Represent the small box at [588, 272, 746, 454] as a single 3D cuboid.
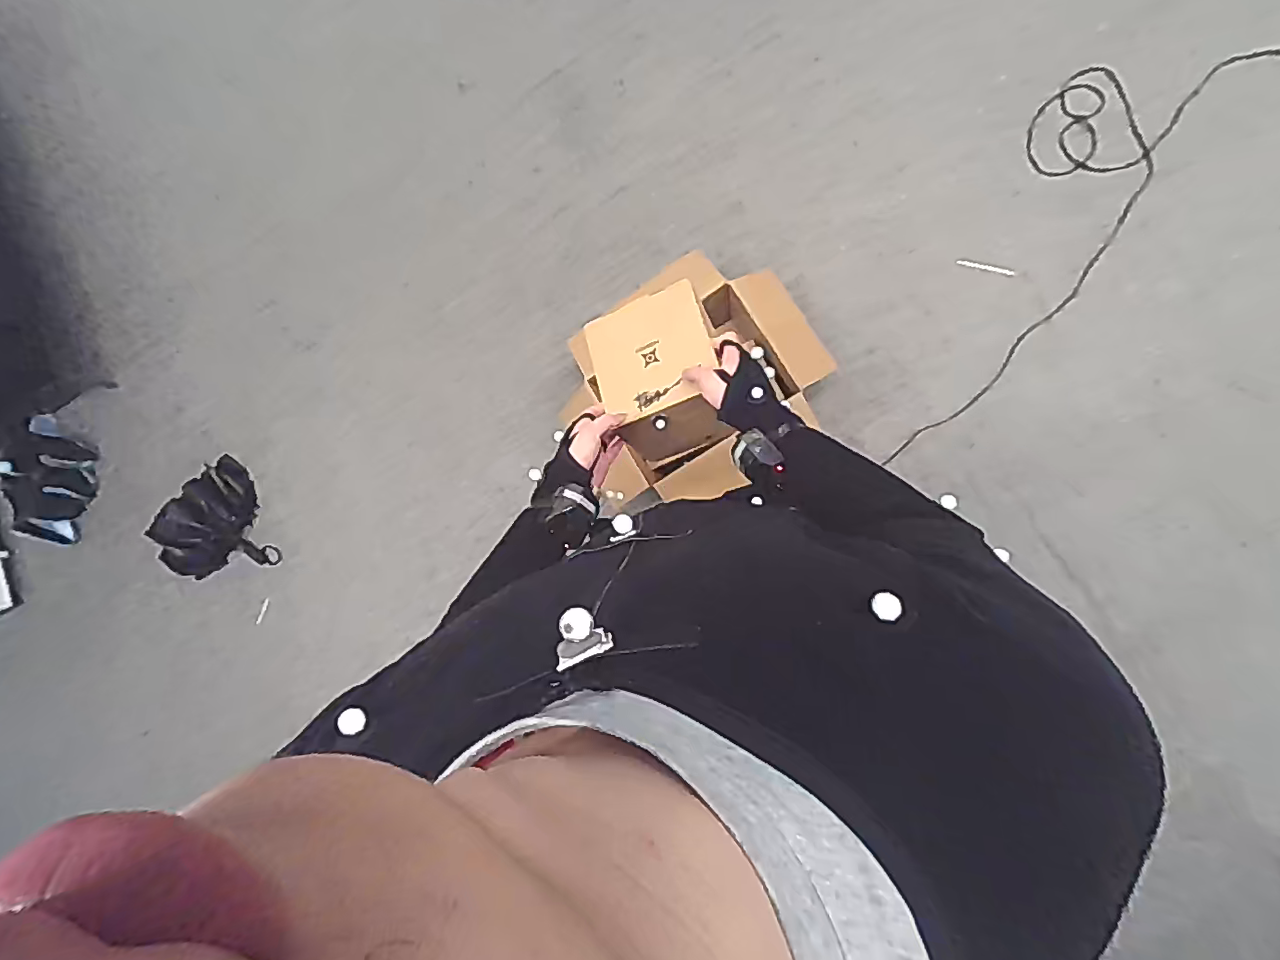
[{"bbox_3d":[0.044,-0.161,0.799,0.168,0.176,0.179,-20,70,15],"label":"small box"}]
